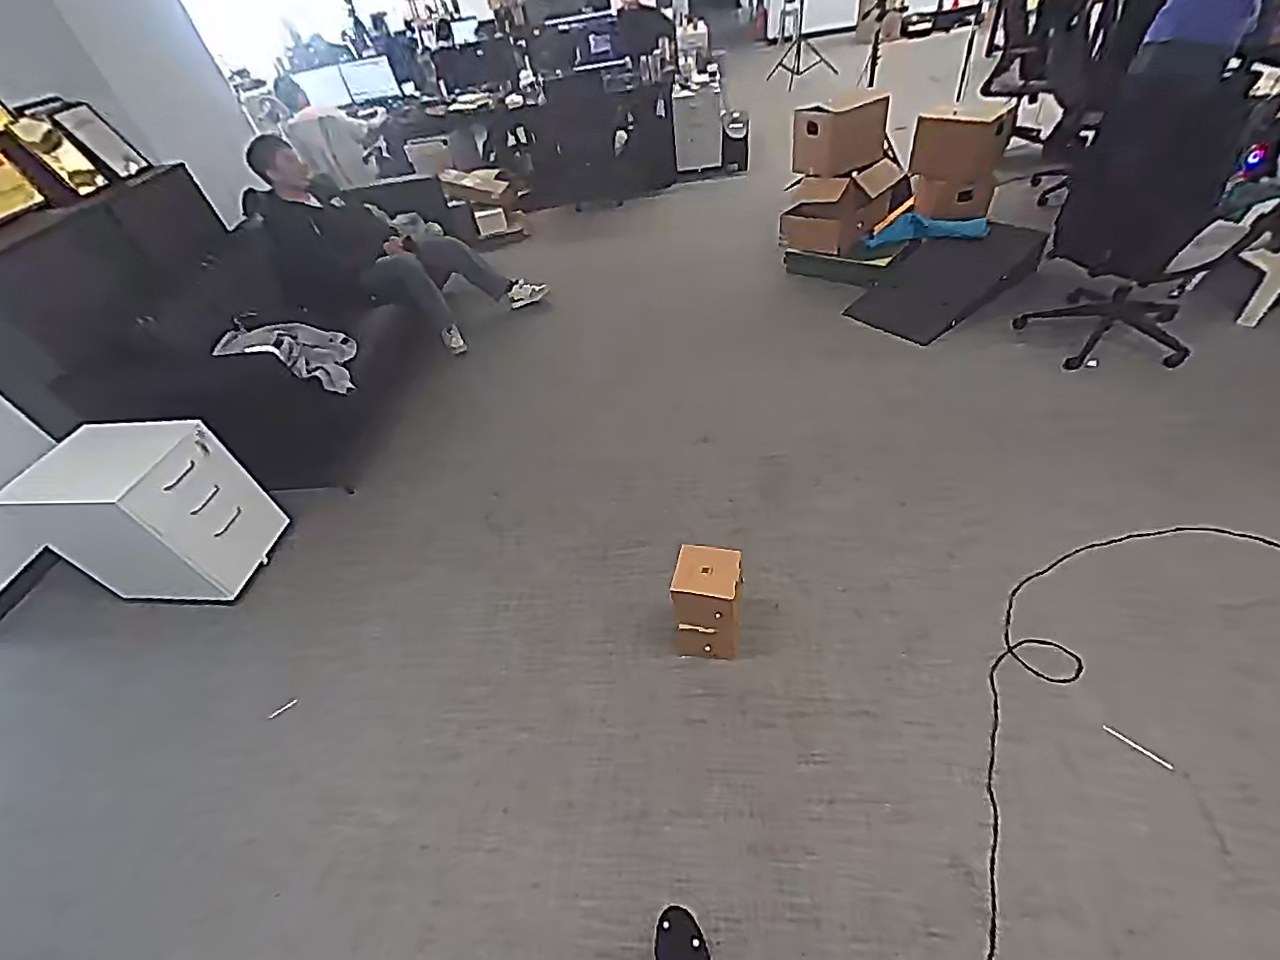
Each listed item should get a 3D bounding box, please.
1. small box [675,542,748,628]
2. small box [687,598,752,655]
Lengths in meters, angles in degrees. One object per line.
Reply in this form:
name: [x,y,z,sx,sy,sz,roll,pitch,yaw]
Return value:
small box: [0.212,0.304,1.557,0.179,0.176,0.168,5,45,19]
small box: [0.233,0.409,1.669,0.179,0.176,0.168,-20,43,-6]
